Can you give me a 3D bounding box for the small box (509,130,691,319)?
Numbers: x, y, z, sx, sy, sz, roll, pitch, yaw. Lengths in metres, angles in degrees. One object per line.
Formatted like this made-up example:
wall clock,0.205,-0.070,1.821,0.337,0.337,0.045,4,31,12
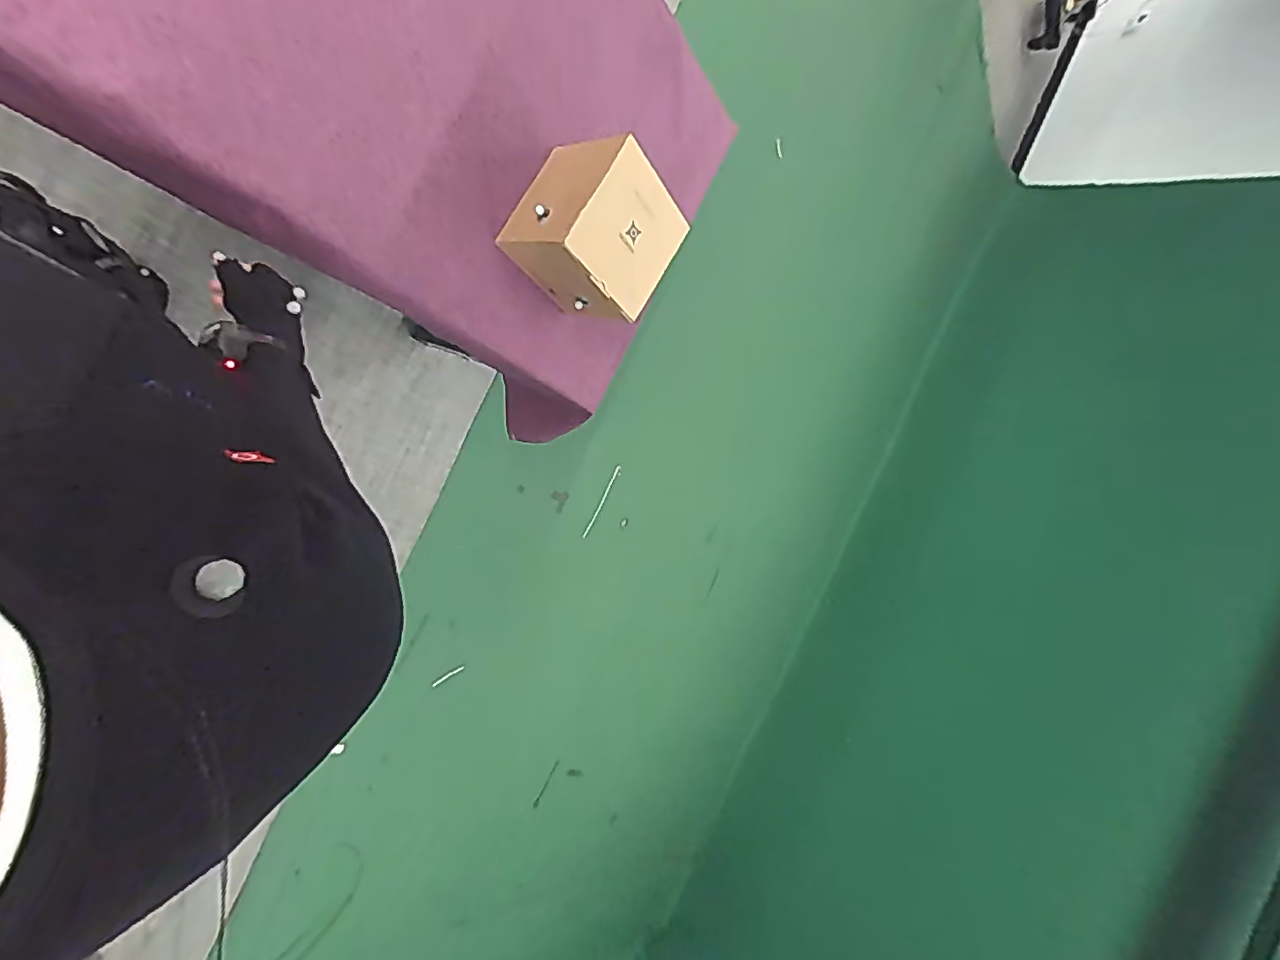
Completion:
small box,-0.063,-0.363,0.787,0.168,0.176,0.179,38,80,-48
